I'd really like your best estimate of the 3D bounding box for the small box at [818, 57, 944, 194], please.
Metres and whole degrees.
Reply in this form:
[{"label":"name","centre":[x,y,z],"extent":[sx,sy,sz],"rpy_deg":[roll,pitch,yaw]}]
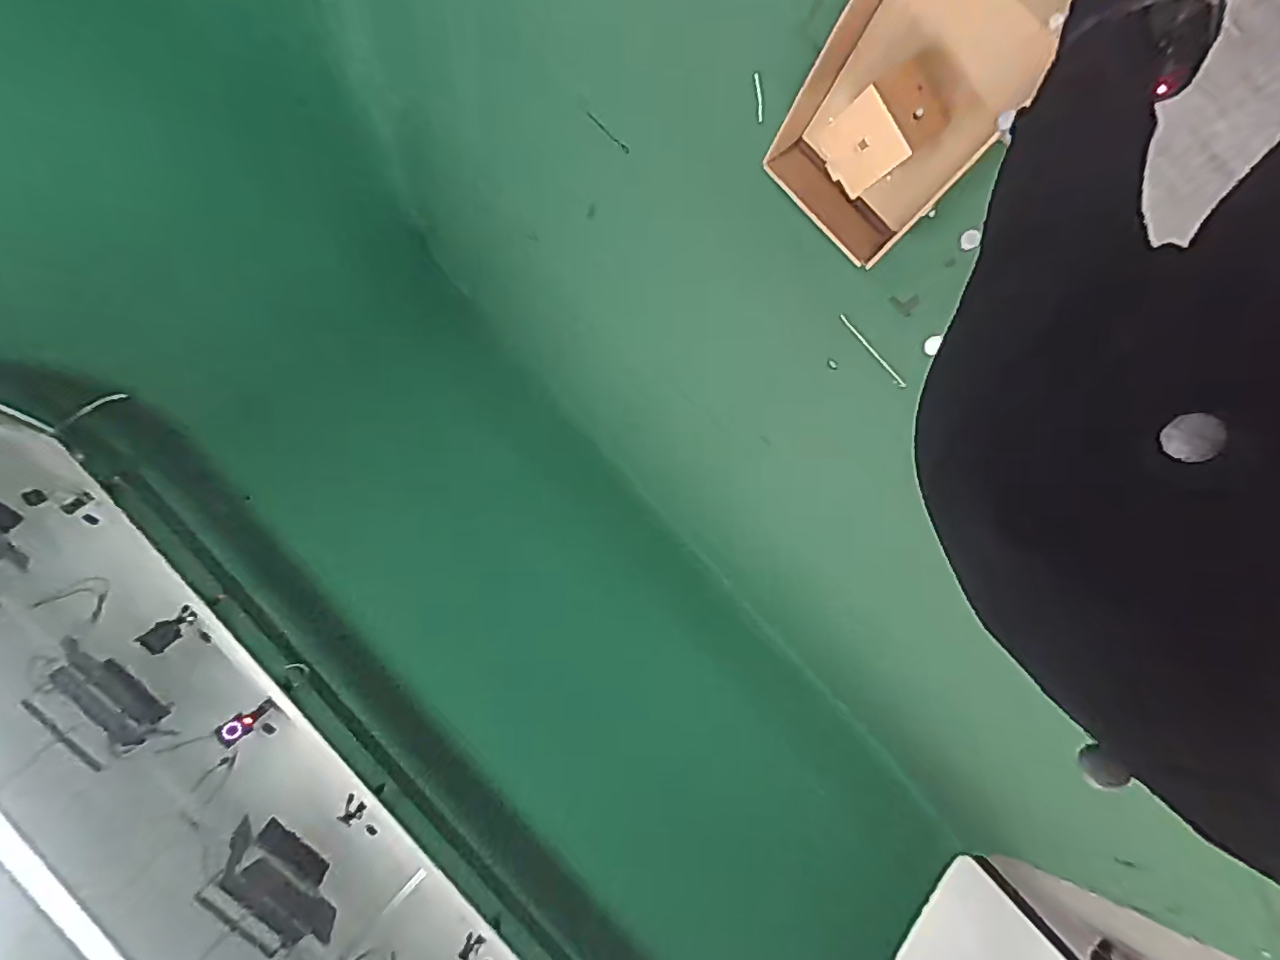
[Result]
[{"label":"small box","centre":[0.552,-0.803,1.227],"extent":[0.168,0.176,0.179],"rpy_deg":[53,158,-9]}]
